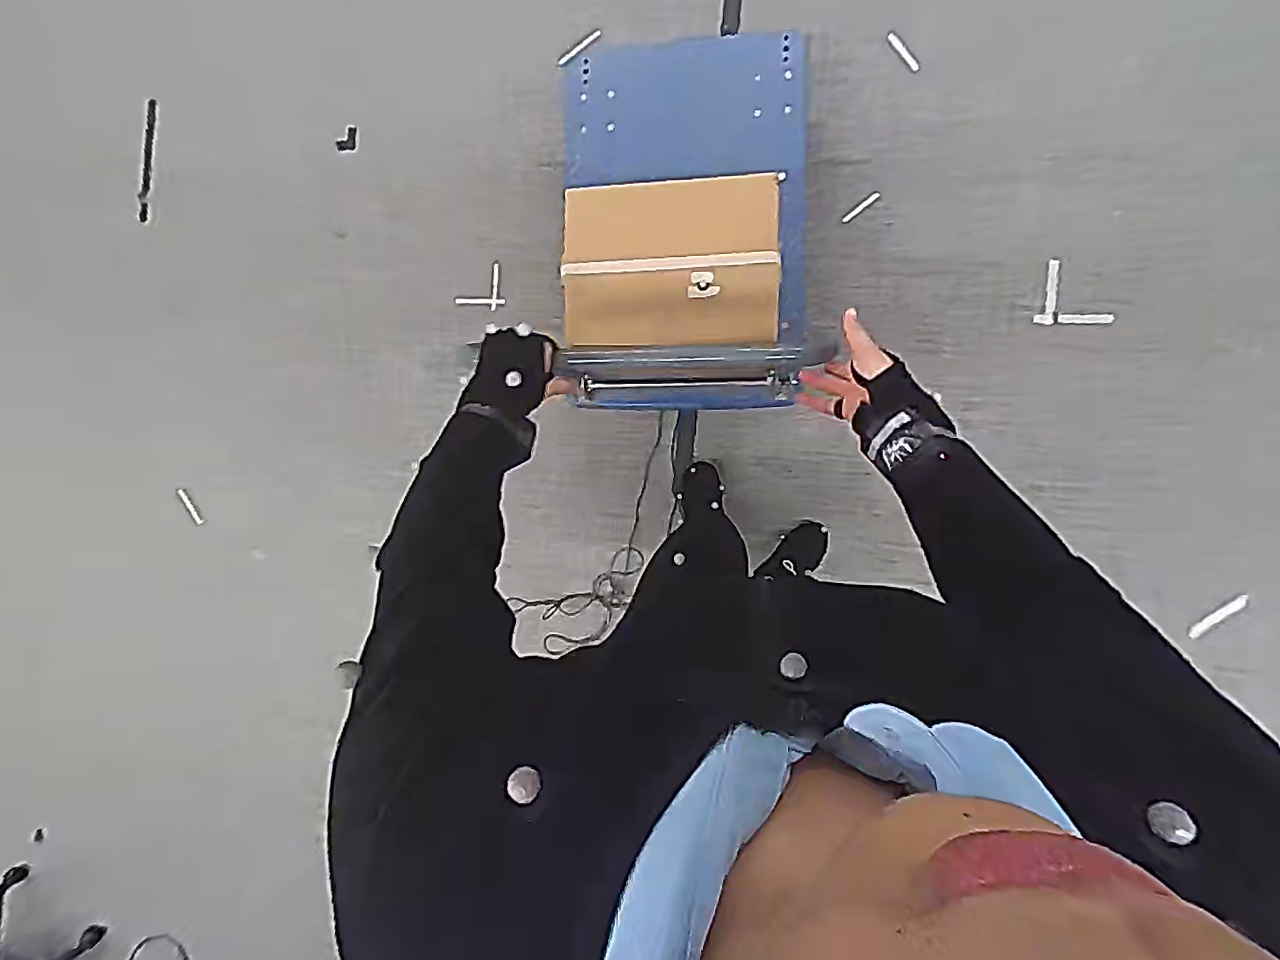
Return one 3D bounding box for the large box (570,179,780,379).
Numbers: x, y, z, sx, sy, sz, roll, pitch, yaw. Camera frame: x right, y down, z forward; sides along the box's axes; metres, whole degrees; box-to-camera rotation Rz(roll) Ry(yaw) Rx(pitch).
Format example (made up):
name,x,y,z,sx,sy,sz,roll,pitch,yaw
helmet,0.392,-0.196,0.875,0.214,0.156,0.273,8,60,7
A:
name,x,y,z,sx,sy,sz,roll,pitch,yaw
large box,0.081,-0.404,1.173,0.408,0.320,0.320,0,92,8
